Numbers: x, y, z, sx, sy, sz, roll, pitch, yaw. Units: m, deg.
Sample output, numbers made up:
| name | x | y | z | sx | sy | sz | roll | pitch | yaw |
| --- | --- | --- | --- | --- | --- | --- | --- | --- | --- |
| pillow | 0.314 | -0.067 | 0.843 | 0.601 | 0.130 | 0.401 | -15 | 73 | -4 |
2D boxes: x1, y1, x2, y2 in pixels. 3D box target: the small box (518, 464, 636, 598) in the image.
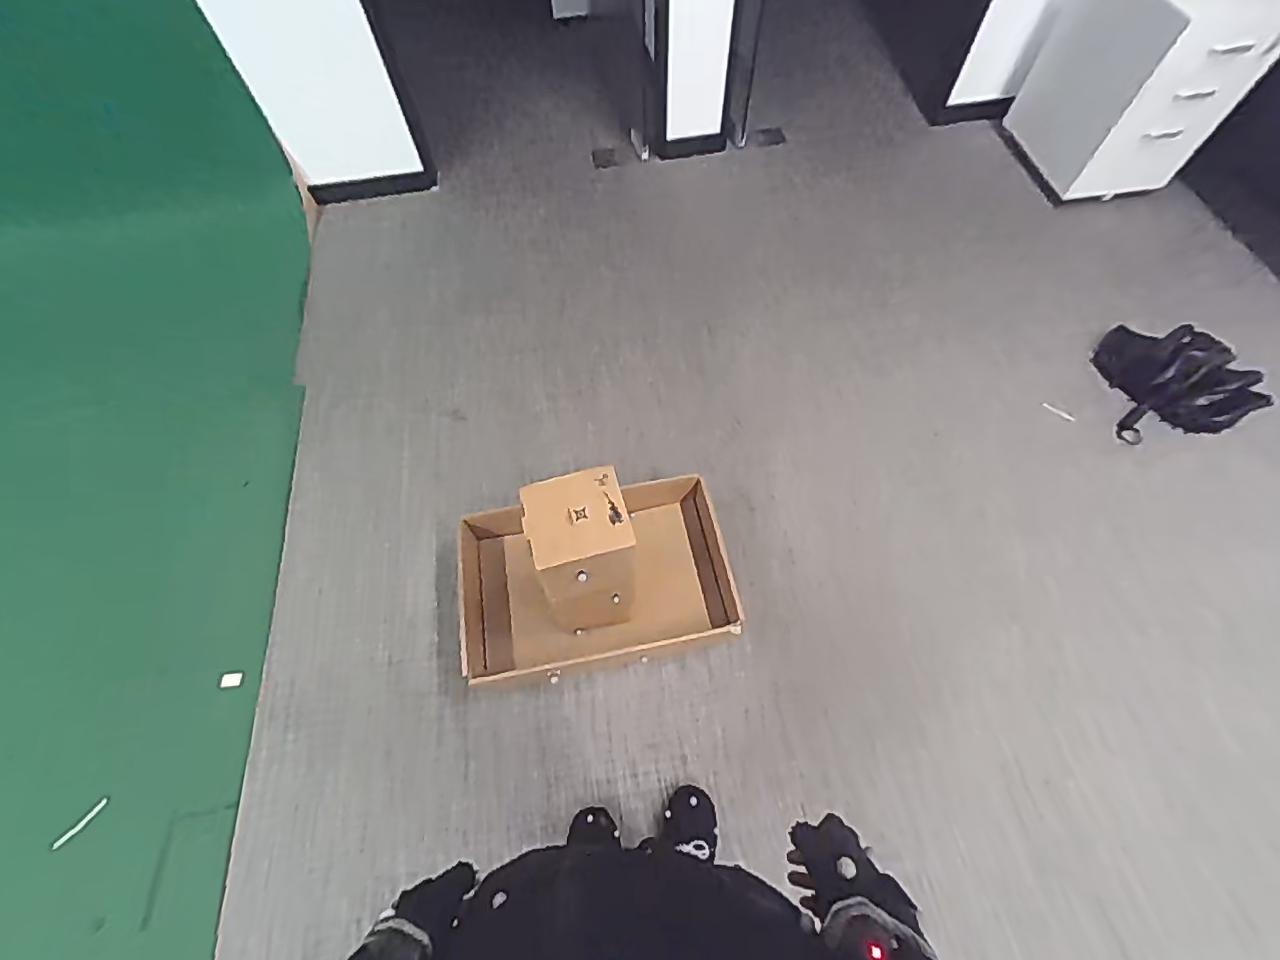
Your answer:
| name | x | y | z | sx | sy | sz | roll | pitch | yaw |
| --- | --- | --- | --- | --- | --- | --- | --- | --- | --- |
| small box | -0.112 | 0.100 | 1.009 | 0.179 | 0.176 | 0.168 | -16 | 60 | -9 |

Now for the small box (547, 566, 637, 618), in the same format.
| name | x | y | z | sx | sy | sz | roll | pitch | yaw |
| --- | --- | --- | --- | --- | --- | --- | --- | --- | --- |
| small box | -0.112 | 0.172 | 1.135 | 0.179 | 0.176 | 0.168 | -15 | 62 | -8 |

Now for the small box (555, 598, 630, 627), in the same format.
| name | x | y | z | sx | sy | sz | roll | pitch | yaw |
| --- | --- | --- | --- | --- | --- | --- | --- | --- | --- |
| small box | -0.120 | 0.244 | 1.298 | 0.168 | 0.176 | 0.179 | -10 | 62 | -5 |
